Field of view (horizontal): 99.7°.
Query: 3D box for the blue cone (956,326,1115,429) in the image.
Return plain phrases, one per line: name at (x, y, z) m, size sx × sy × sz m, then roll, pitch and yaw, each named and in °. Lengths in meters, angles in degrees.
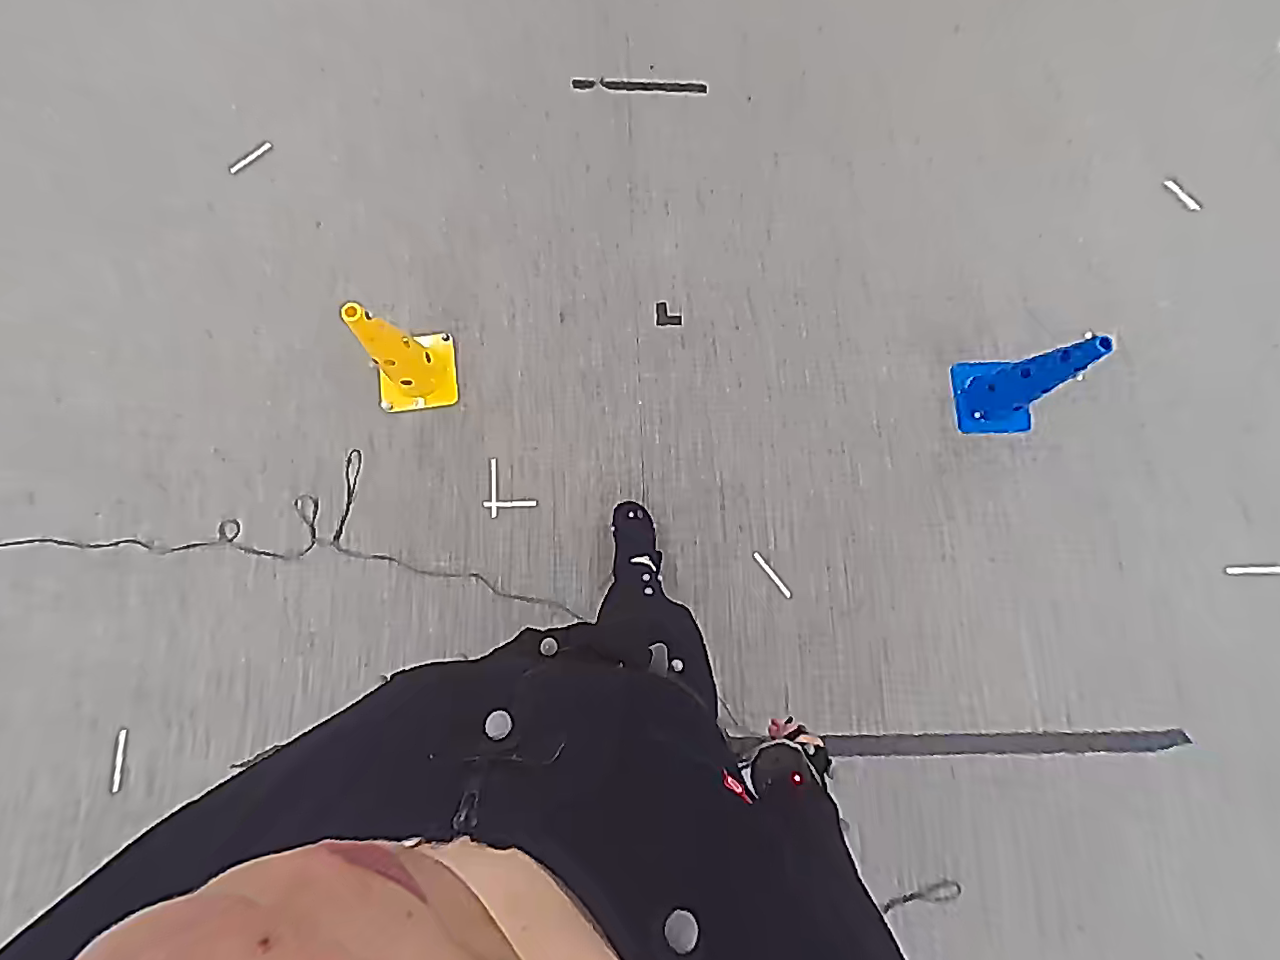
blue cone at (0.954, -0.256, 1.287) m, size 0.193 × 0.380 × 0.192 m, roll 0°, pitch 80°, yaw -1°
